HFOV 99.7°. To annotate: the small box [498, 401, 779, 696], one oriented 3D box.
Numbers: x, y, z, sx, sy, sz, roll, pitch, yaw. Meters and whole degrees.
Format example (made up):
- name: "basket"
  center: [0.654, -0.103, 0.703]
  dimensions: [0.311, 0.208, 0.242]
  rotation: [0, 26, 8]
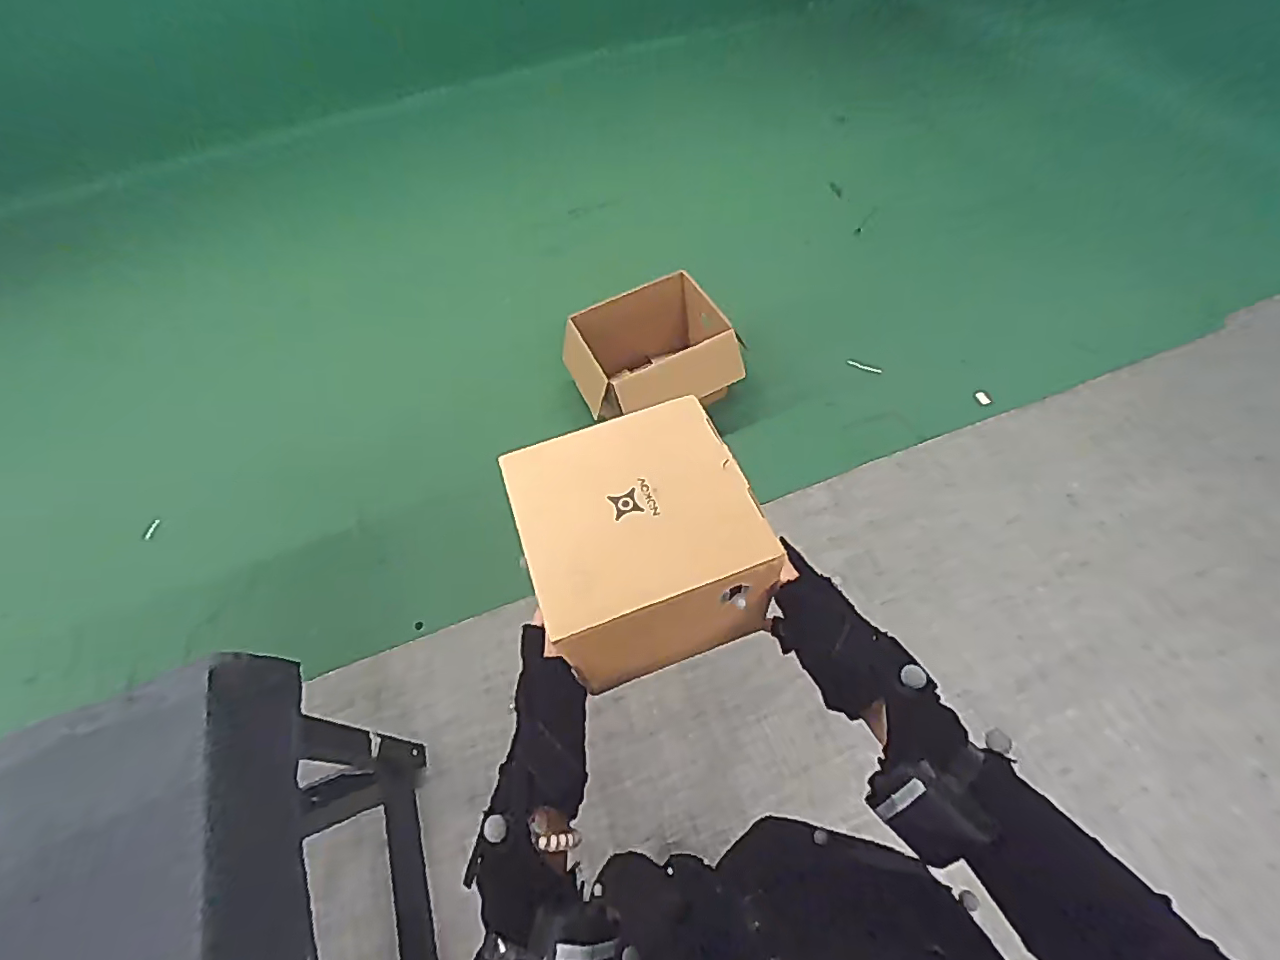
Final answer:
- name: "small box"
  center: [-0.002, 0.067, 0.472]
  dimensions: [0.179, 0.176, 0.168]
  rotation: [-19, 57, -8]
